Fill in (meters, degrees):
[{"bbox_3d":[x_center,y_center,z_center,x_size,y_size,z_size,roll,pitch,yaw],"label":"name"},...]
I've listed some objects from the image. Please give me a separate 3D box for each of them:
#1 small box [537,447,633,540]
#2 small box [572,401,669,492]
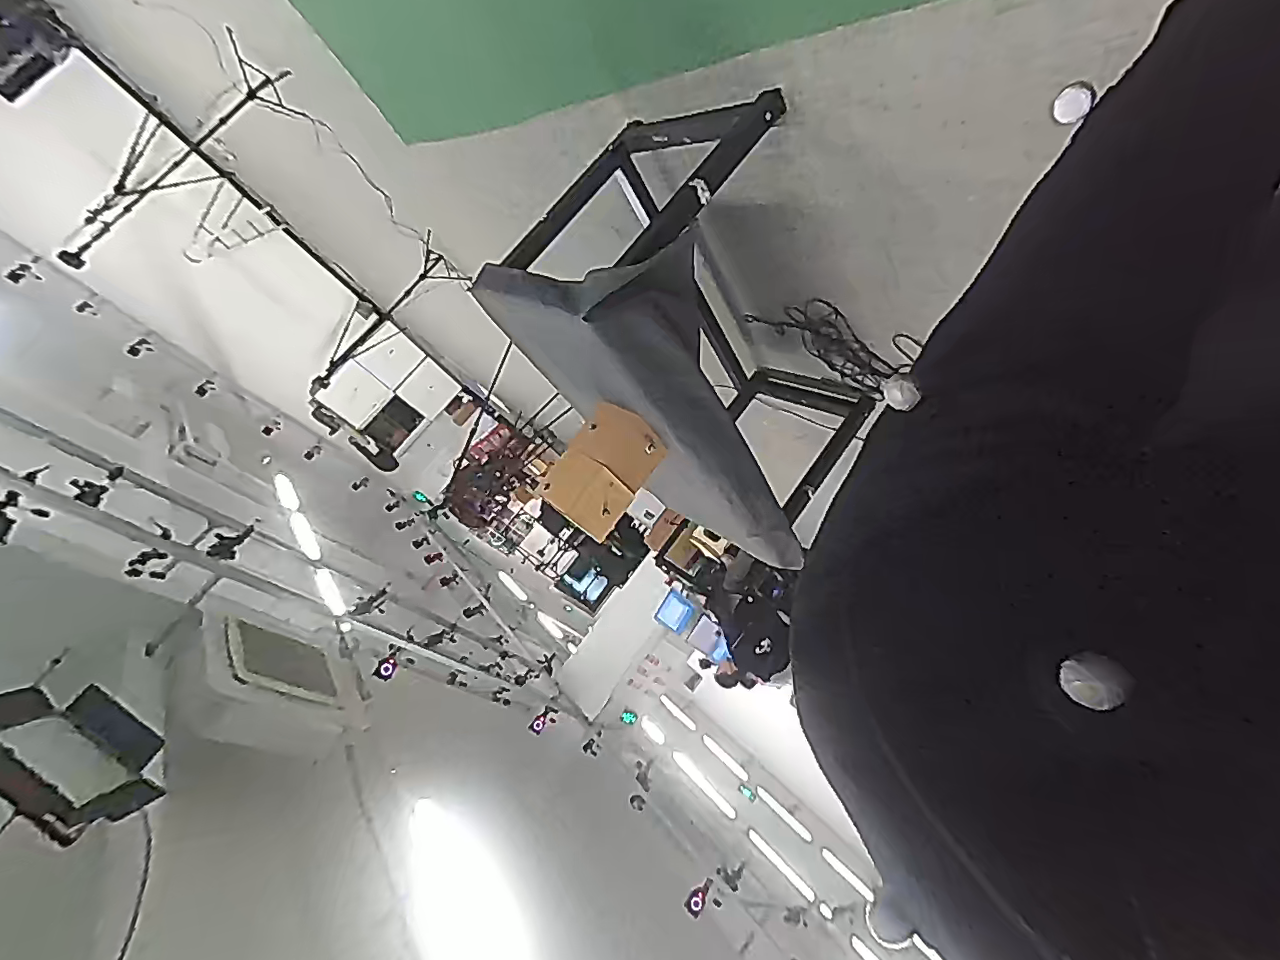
[{"bbox_3d":[-0.143,0.032,1.495,0.179,0.176,0.168,30,170,45],"label":"small box"},{"bbox_3d":[-0.052,-0.100,1.522,0.179,0.176,0.168,28,168,44],"label":"small box"}]
